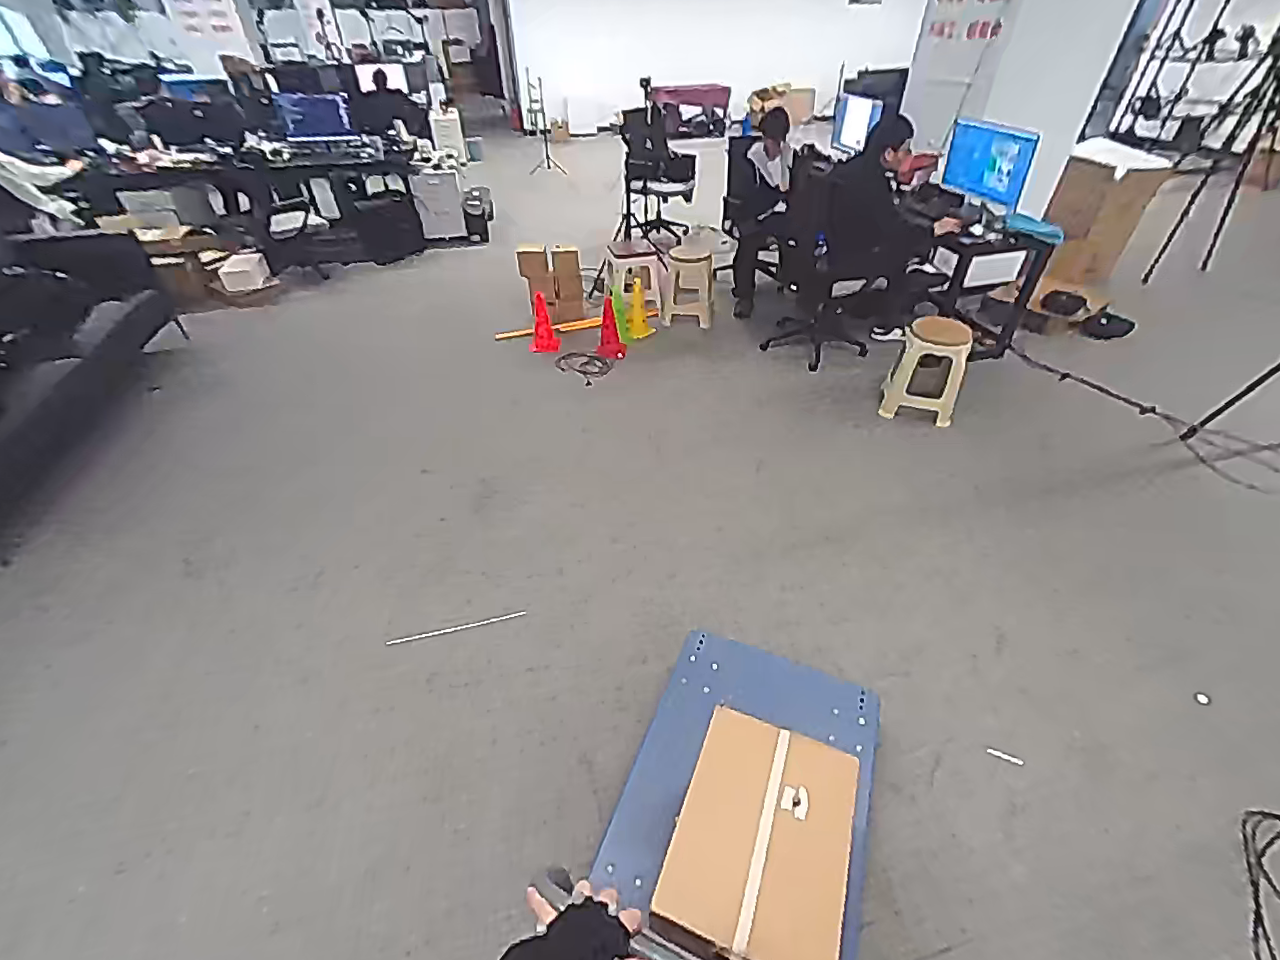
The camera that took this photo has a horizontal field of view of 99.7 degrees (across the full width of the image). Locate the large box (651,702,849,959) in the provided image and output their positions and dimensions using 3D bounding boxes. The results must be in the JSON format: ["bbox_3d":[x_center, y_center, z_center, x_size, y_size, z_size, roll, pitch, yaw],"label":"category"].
[{"bbox_3d":[0.233,0.776,1.149,0.320,0.320,0.408,16,42,17],"label":"large box"}]
